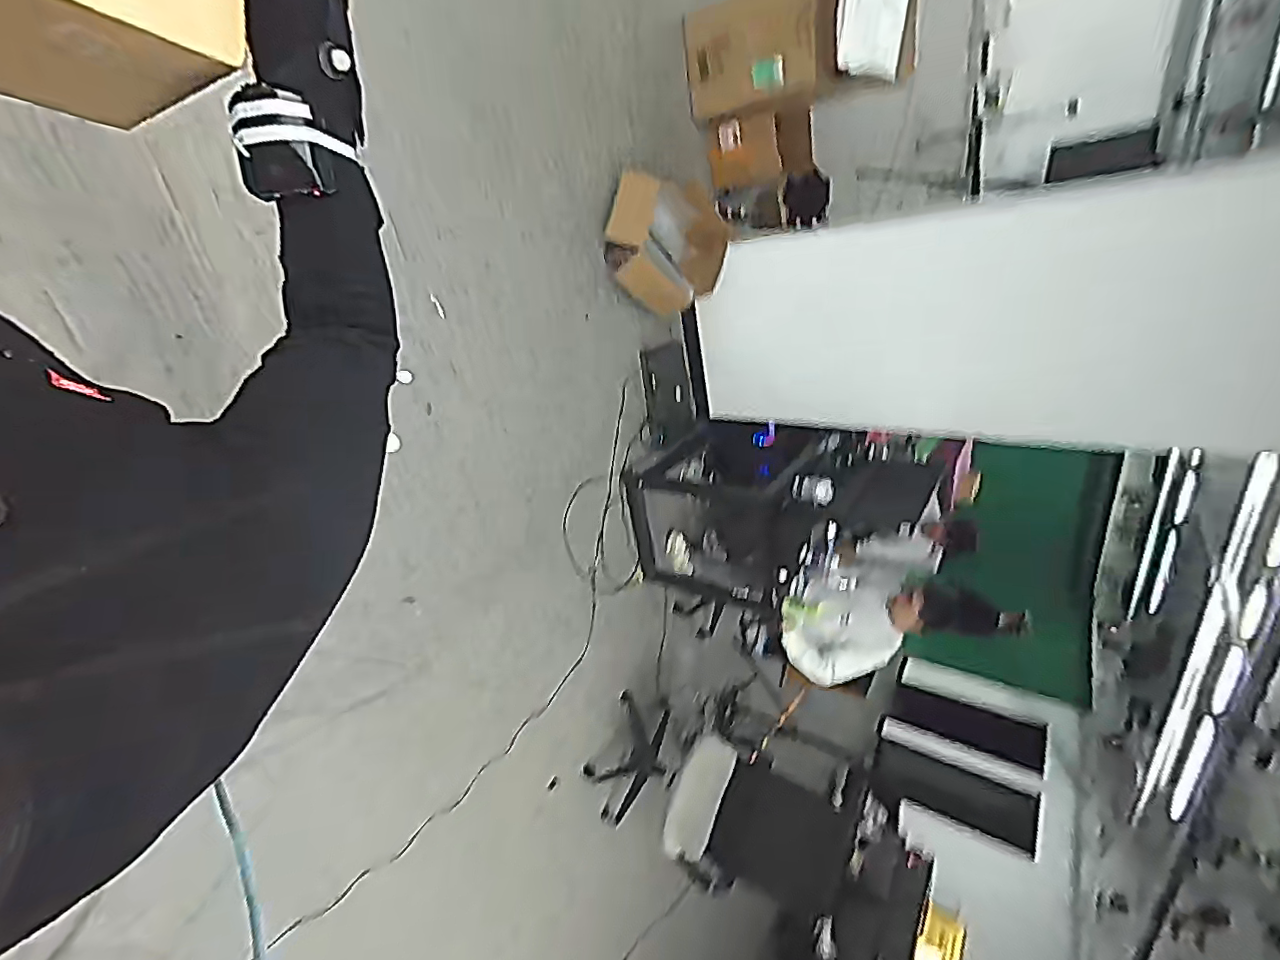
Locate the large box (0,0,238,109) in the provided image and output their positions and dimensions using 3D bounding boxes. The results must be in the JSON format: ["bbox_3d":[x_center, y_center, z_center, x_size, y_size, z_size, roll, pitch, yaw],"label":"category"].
[{"bbox_3d":[-0.501,-0.448,0.263,0.408,0.320,0.320,-14,115,-53],"label":"large box"}]
